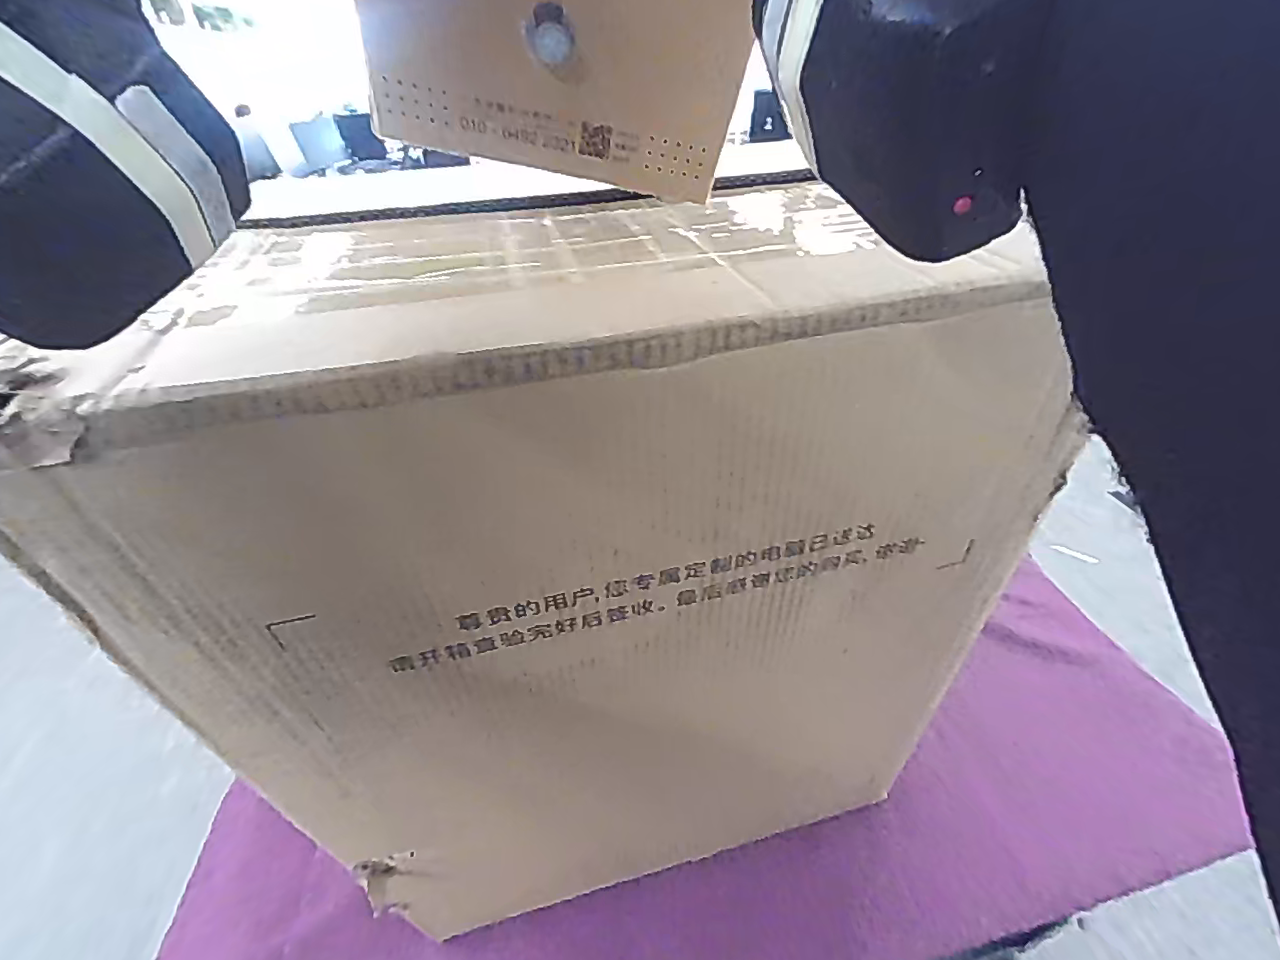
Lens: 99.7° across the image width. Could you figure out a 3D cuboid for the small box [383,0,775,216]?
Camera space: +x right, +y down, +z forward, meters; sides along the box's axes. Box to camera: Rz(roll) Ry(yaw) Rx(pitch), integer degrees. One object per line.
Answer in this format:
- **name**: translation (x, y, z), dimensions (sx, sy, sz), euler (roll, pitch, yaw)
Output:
- **small box**: translation (-0.025, -0.265, 0.265), dimensions (0.168, 0.176, 0.179), euler (7, 54, -8)
